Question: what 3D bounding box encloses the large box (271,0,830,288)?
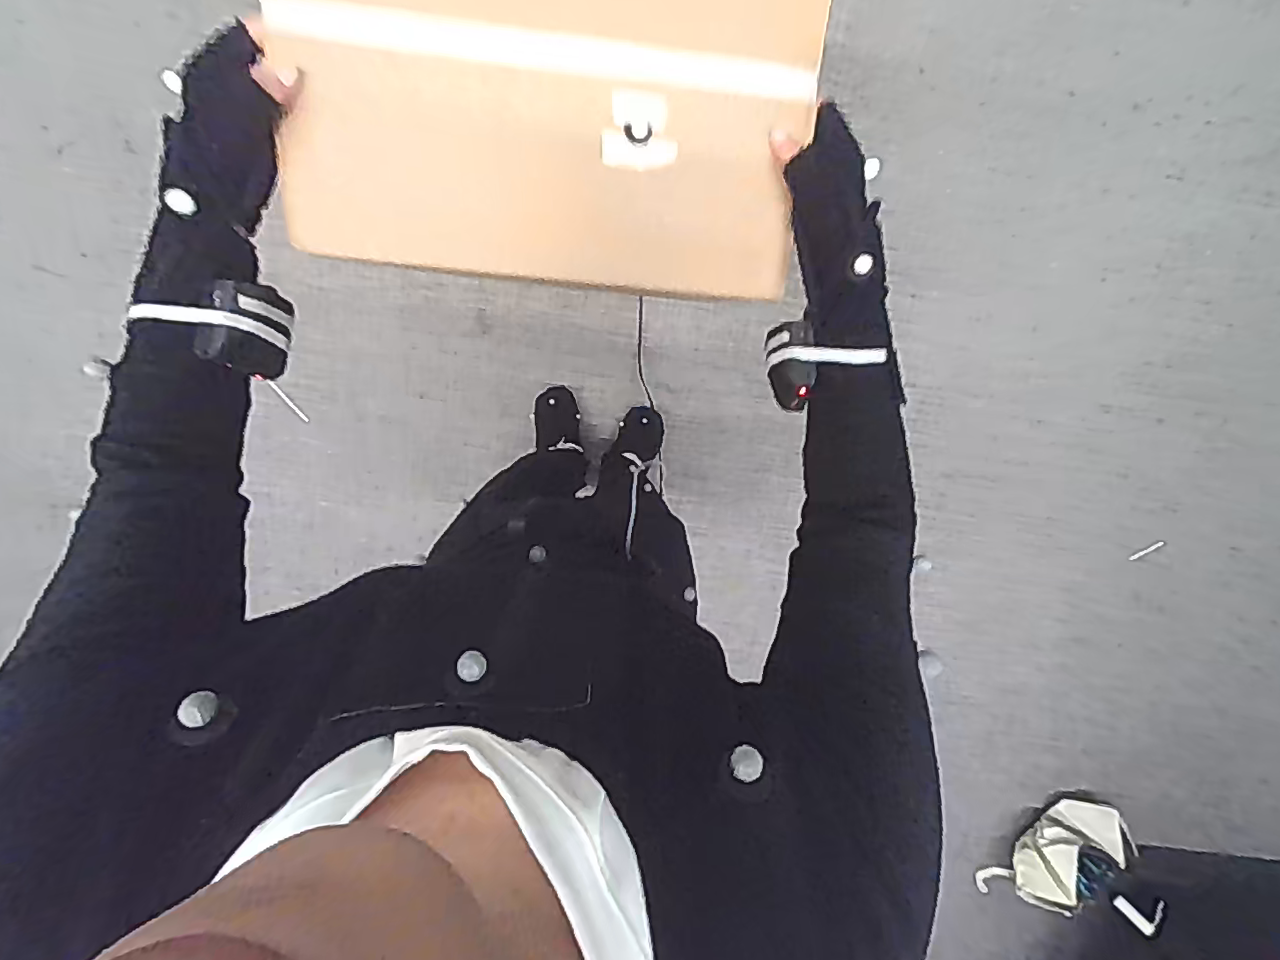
[{"bbox_3d":[-0.073,-0.370,0.534,0.408,0.320,0.320,3,109,-6],"label":"large box"}]
